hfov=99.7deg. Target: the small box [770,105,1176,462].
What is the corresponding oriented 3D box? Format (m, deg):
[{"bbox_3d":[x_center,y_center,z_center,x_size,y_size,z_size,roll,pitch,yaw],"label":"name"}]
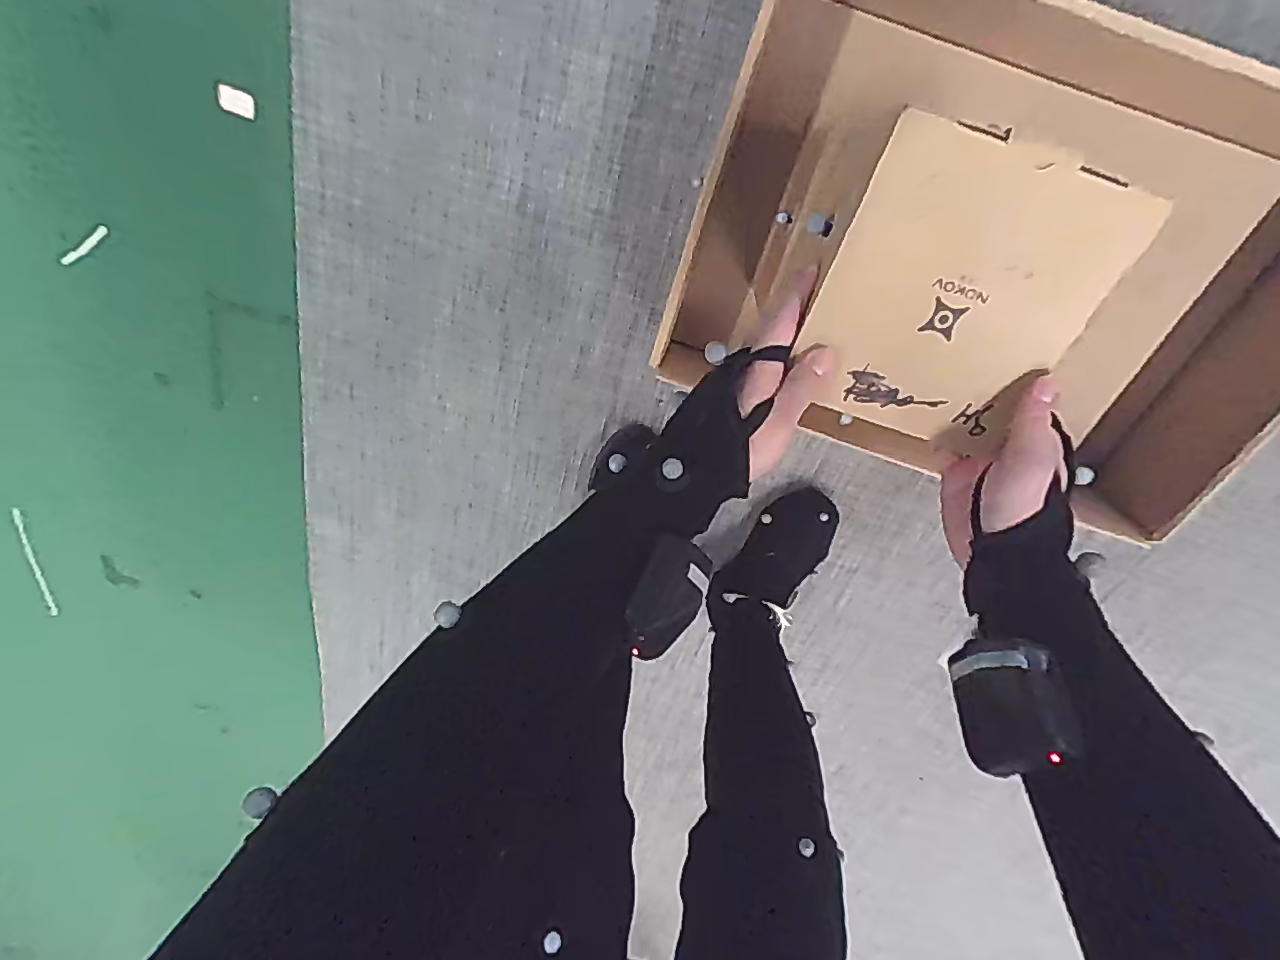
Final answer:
[{"bbox_3d":[0.208,-0.146,0.407,0.168,0.176,0.179,19,120,-2],"label":"small box"}]
